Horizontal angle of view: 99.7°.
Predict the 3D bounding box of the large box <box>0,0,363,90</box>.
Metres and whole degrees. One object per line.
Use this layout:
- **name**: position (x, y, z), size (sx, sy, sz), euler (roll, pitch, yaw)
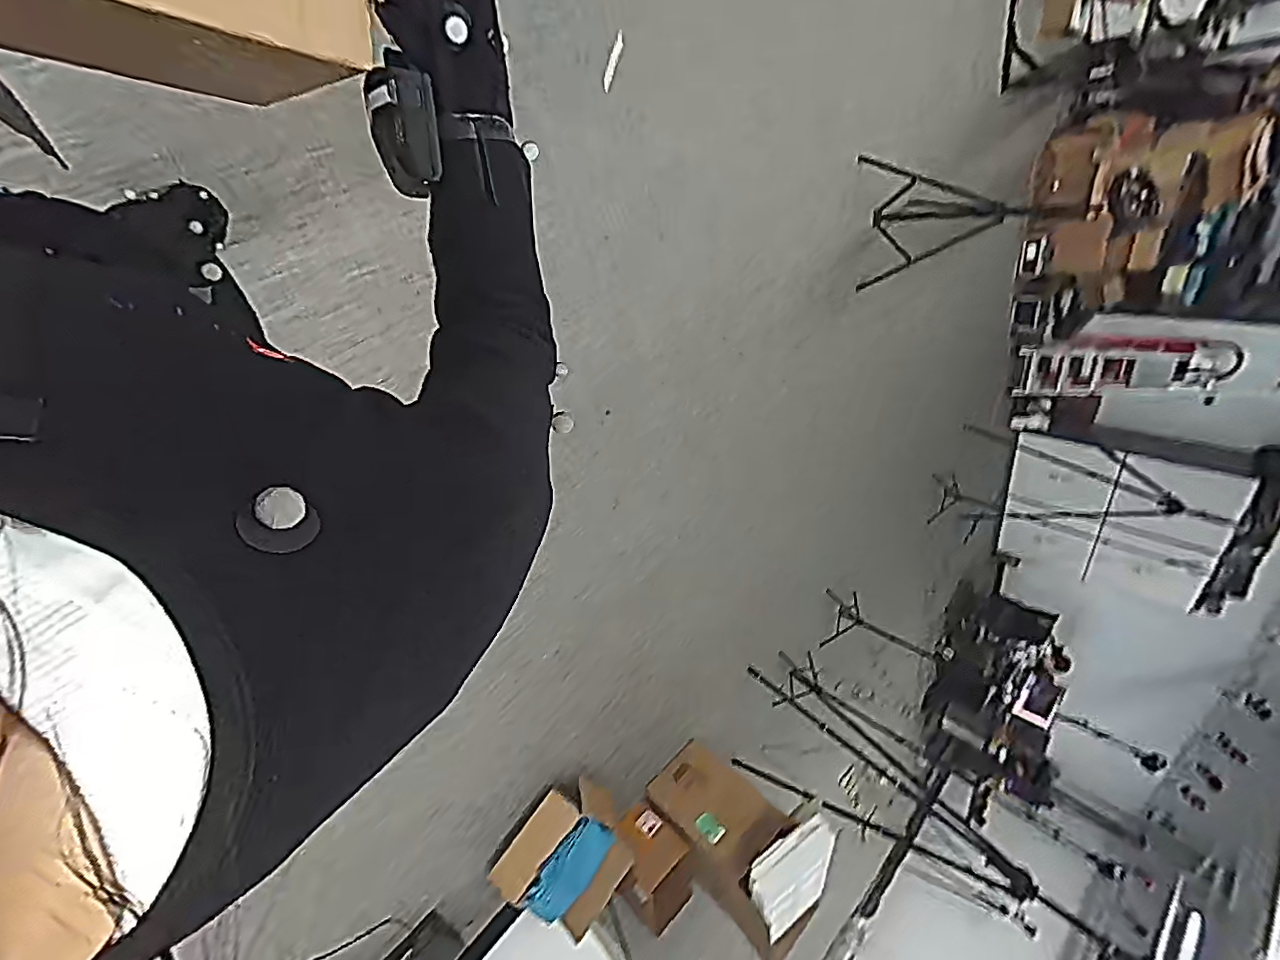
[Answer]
- **large box**: position (-0.397, -0.409, 0.232), size (0.408, 0.320, 0.320), euler (-16, 124, -40)
